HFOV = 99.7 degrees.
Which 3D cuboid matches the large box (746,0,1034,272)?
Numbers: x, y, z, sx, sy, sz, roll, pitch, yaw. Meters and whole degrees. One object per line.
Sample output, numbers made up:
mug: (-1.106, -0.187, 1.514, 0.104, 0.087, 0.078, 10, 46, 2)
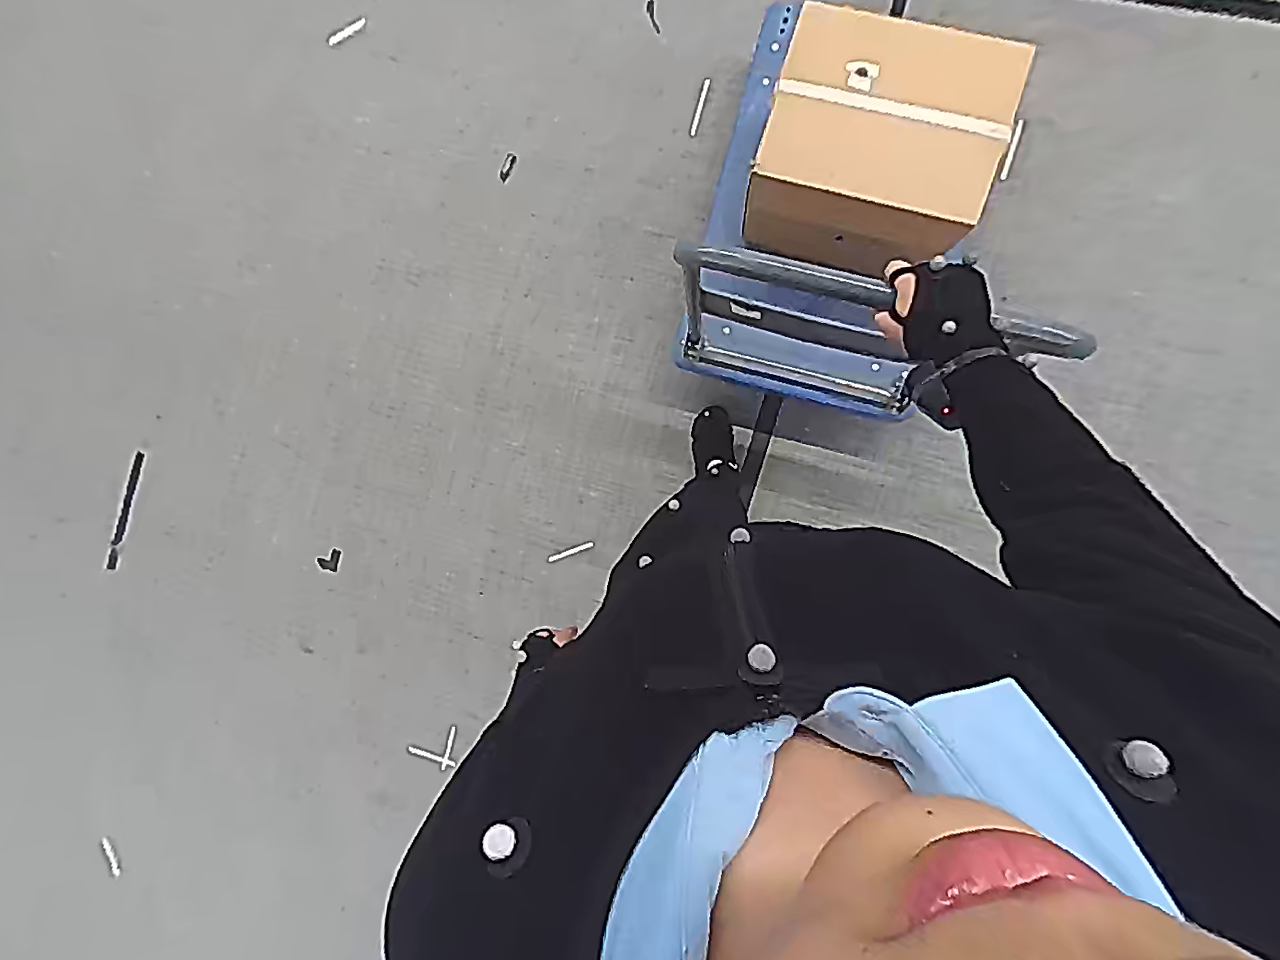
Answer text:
large box: (0.453, -0.655, 1.082, 0.408, 0.320, 0.320, 17, 93, 8)
